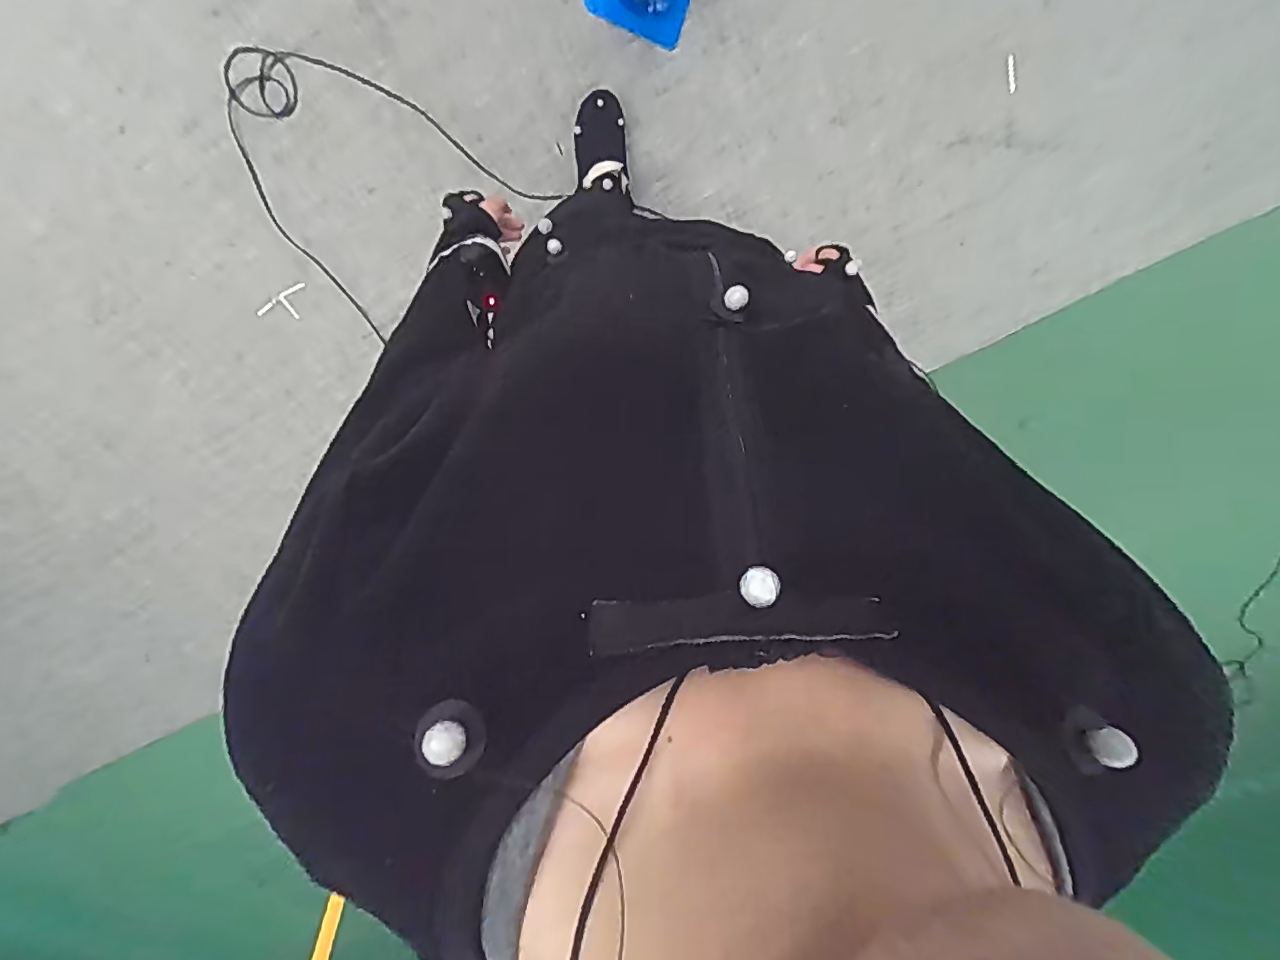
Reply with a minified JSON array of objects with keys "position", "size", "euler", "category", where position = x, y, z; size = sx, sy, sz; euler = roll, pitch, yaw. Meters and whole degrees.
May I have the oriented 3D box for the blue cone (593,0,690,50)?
[{"position":[0.023,-0.882,0.889],"size":[0.192,0.380,0.193],"euler":[14,117,-12],"category":"blue cone"}]
